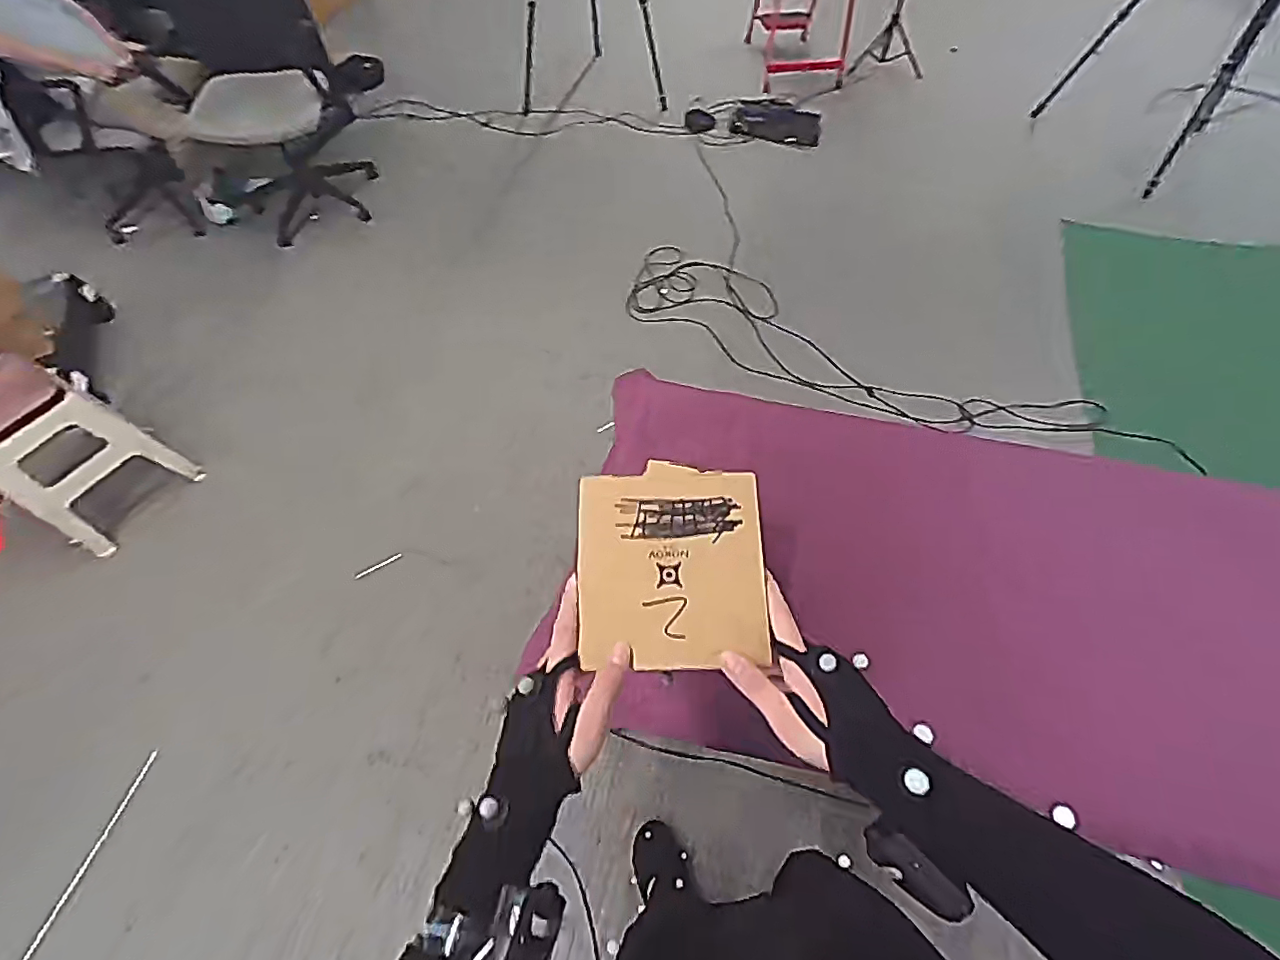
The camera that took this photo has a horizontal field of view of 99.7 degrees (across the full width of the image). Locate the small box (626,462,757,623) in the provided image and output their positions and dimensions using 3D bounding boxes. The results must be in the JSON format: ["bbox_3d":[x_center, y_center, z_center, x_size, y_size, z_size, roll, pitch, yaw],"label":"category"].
[{"bbox_3d":[0.077,0.100,0.836,0.168,0.176,0.179,10,60,7],"label":"small box"}]
